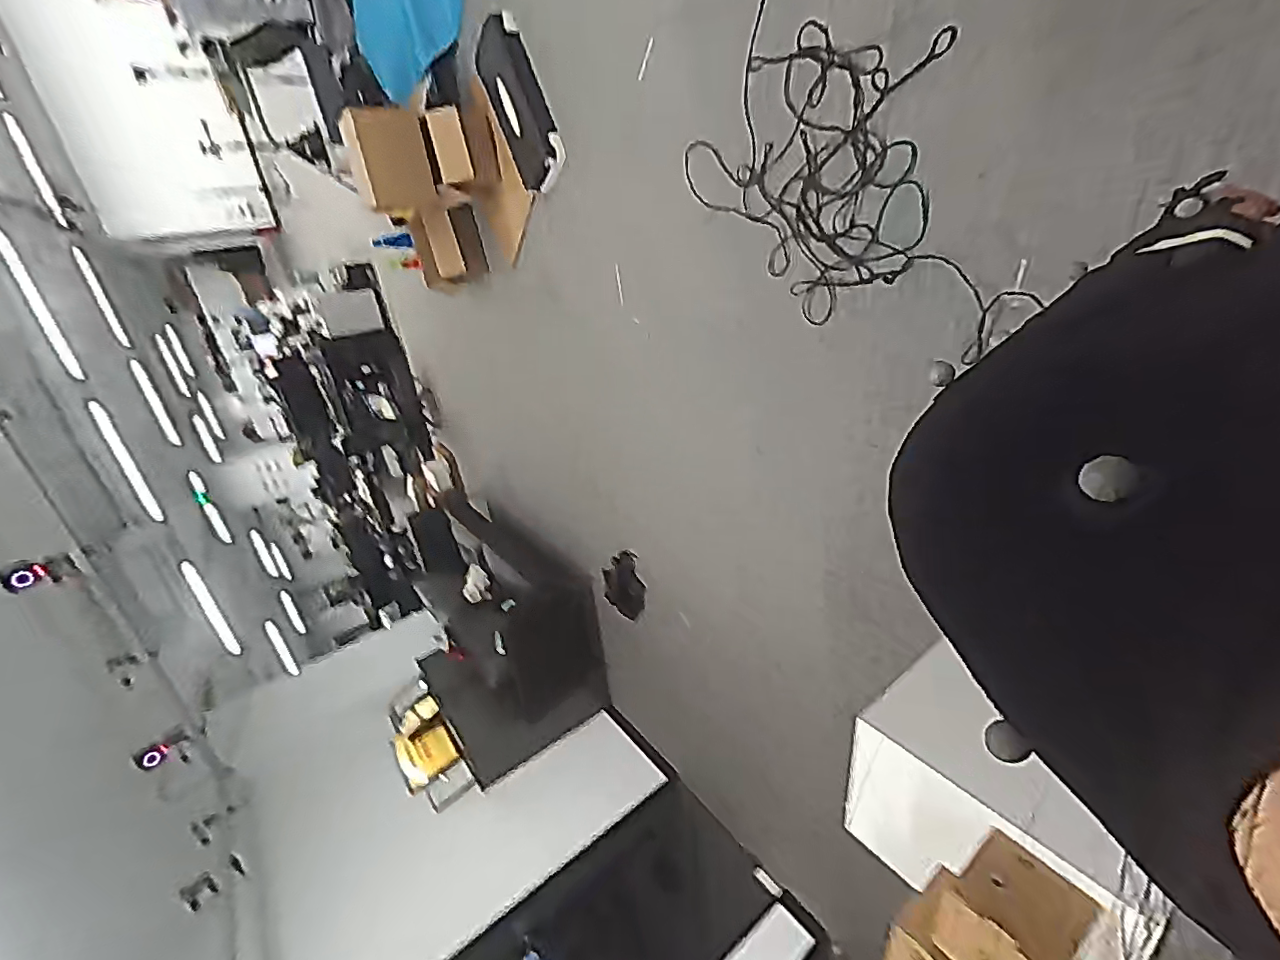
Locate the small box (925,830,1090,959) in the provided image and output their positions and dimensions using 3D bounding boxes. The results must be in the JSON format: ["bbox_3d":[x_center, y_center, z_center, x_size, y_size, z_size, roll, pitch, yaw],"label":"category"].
[{"bbox_3d":[0.621,0.750,0.917,0.168,0.176,0.179,30,135,48],"label":"small box"}]
